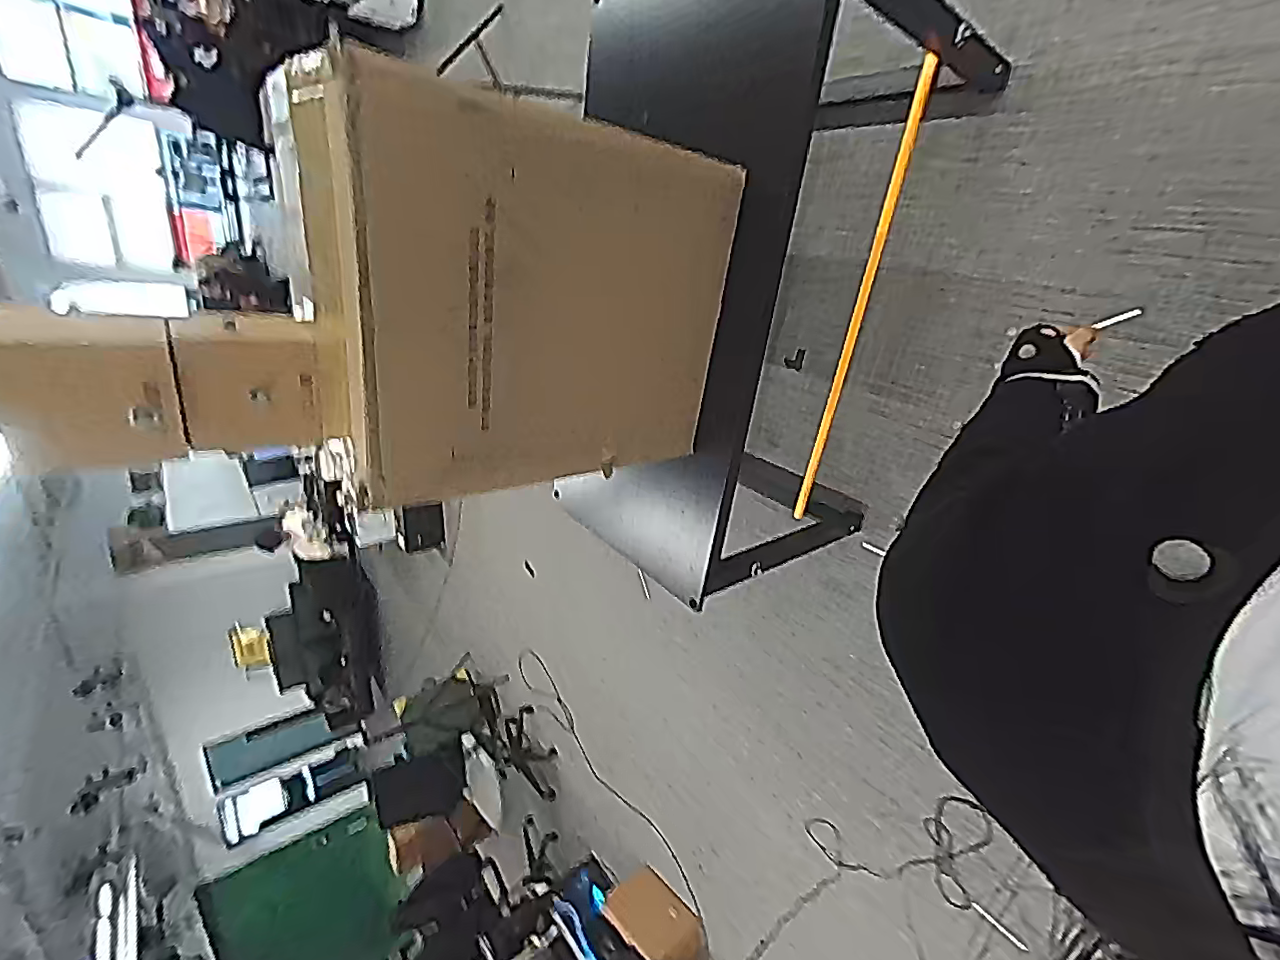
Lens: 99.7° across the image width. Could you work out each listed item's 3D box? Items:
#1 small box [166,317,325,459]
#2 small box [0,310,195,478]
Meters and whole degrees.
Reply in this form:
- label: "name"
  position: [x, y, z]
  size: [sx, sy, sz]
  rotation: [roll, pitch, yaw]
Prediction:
- label: "small box"
  position: [-0.591, -0.148, 0.824]
  size: [0.179, 0.176, 0.168]
  rotation: [32, 122, 42]
- label: "small box"
  position: [-0.707, -0.120, 0.711]
  size: [0.179, 0.176, 0.168]
  rotation: [34, 124, 42]
